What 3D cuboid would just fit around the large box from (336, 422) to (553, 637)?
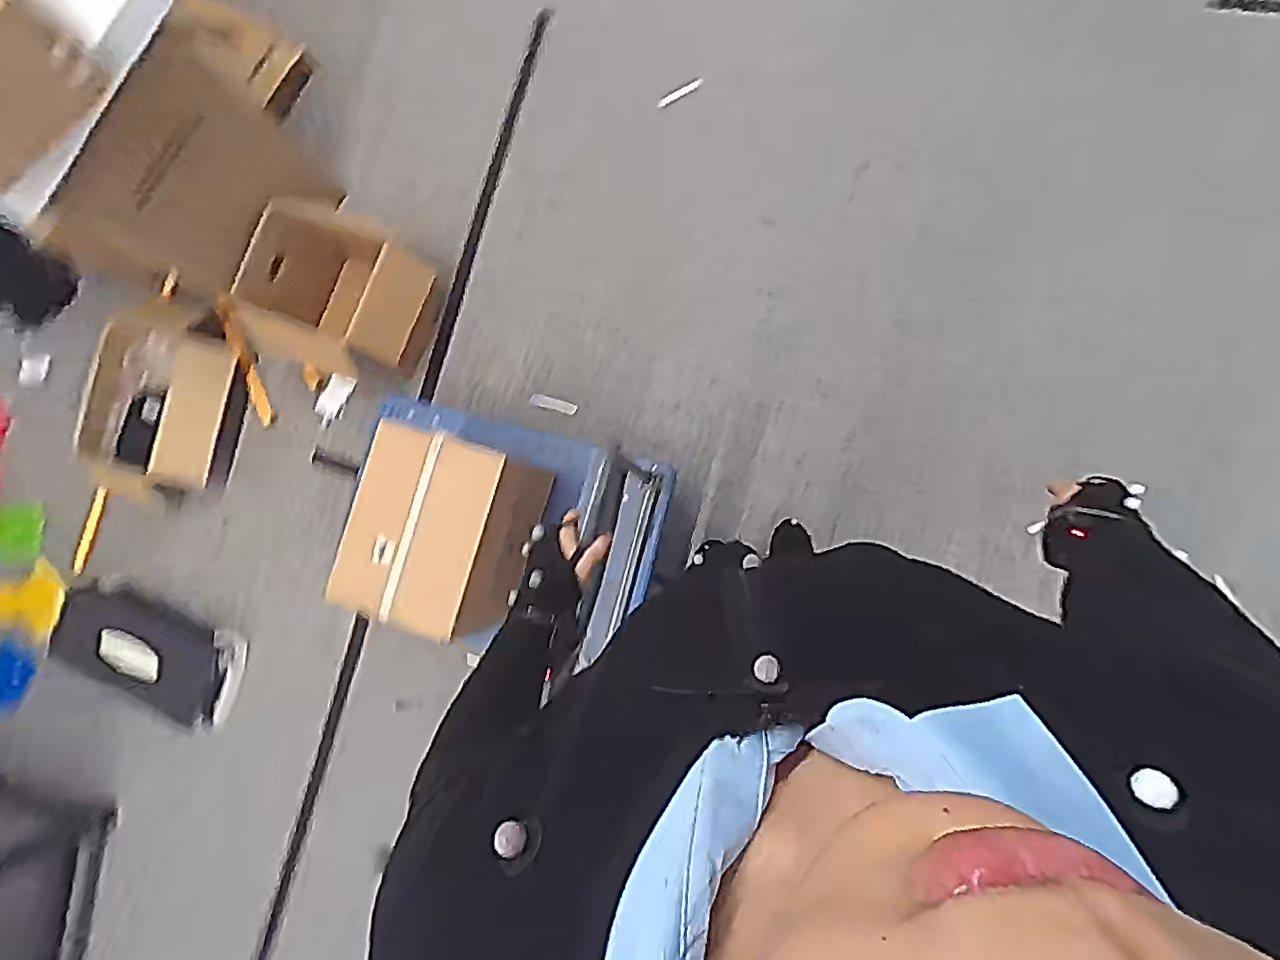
[{"bbox_3d":[-0.443,0.107,1.298,0.320,0.320,0.408,16,89,12],"label":"large box"}]
